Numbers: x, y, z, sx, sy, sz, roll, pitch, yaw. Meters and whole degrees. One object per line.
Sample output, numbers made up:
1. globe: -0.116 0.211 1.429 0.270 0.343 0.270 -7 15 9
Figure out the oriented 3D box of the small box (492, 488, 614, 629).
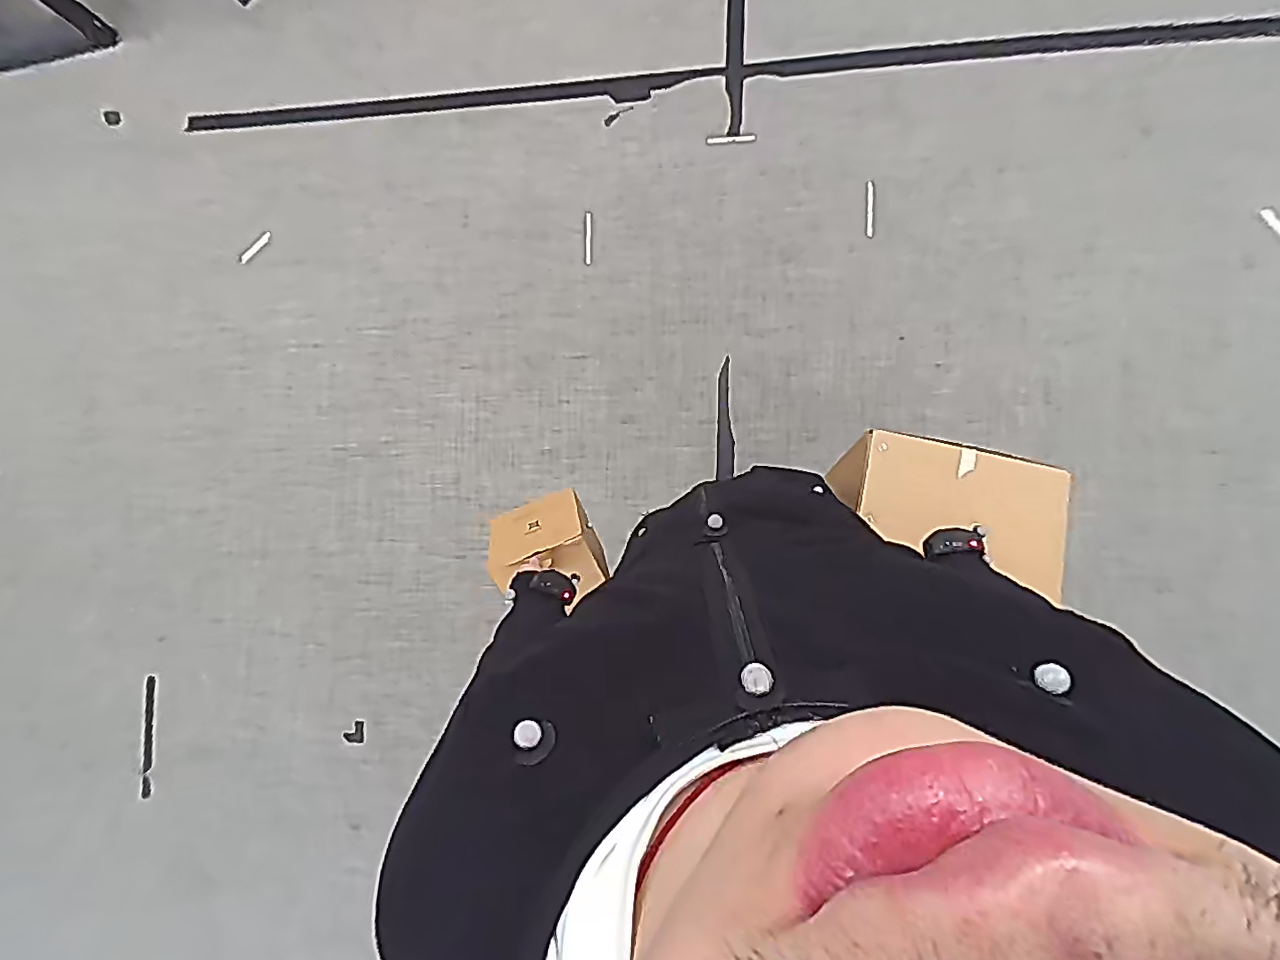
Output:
1. small box: -0.158 0.149 0.998 0.168 0.179 0.176 -22 120 -1
